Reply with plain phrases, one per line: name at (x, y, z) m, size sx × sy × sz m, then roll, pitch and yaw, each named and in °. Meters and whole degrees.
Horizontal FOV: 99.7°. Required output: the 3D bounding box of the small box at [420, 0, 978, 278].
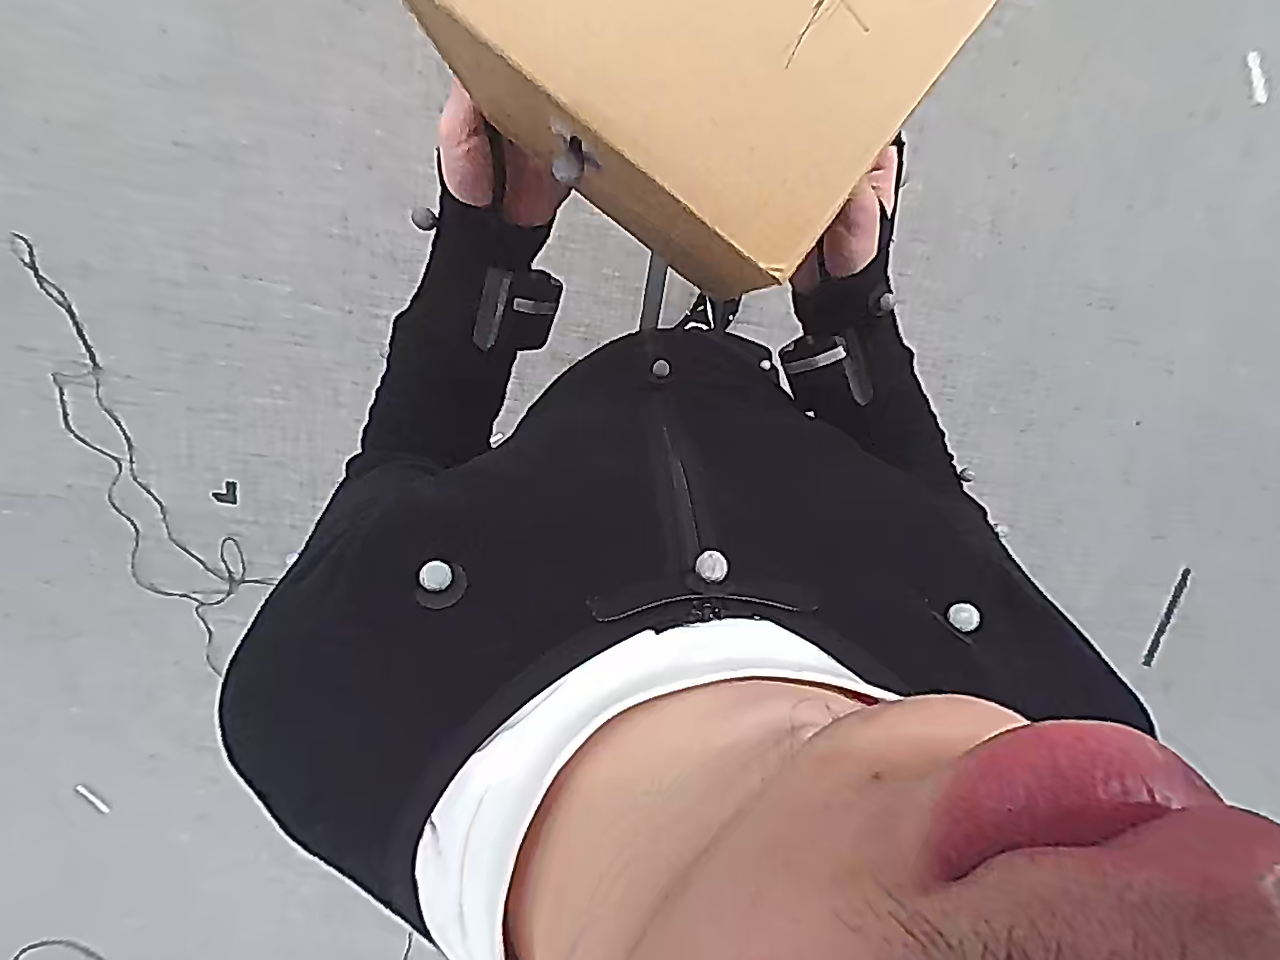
small box at (0.028, -0.210, 0.248) m, size 0.179 × 0.176 × 0.168 m, roll 33°, pitch 105°, yaw -10°
